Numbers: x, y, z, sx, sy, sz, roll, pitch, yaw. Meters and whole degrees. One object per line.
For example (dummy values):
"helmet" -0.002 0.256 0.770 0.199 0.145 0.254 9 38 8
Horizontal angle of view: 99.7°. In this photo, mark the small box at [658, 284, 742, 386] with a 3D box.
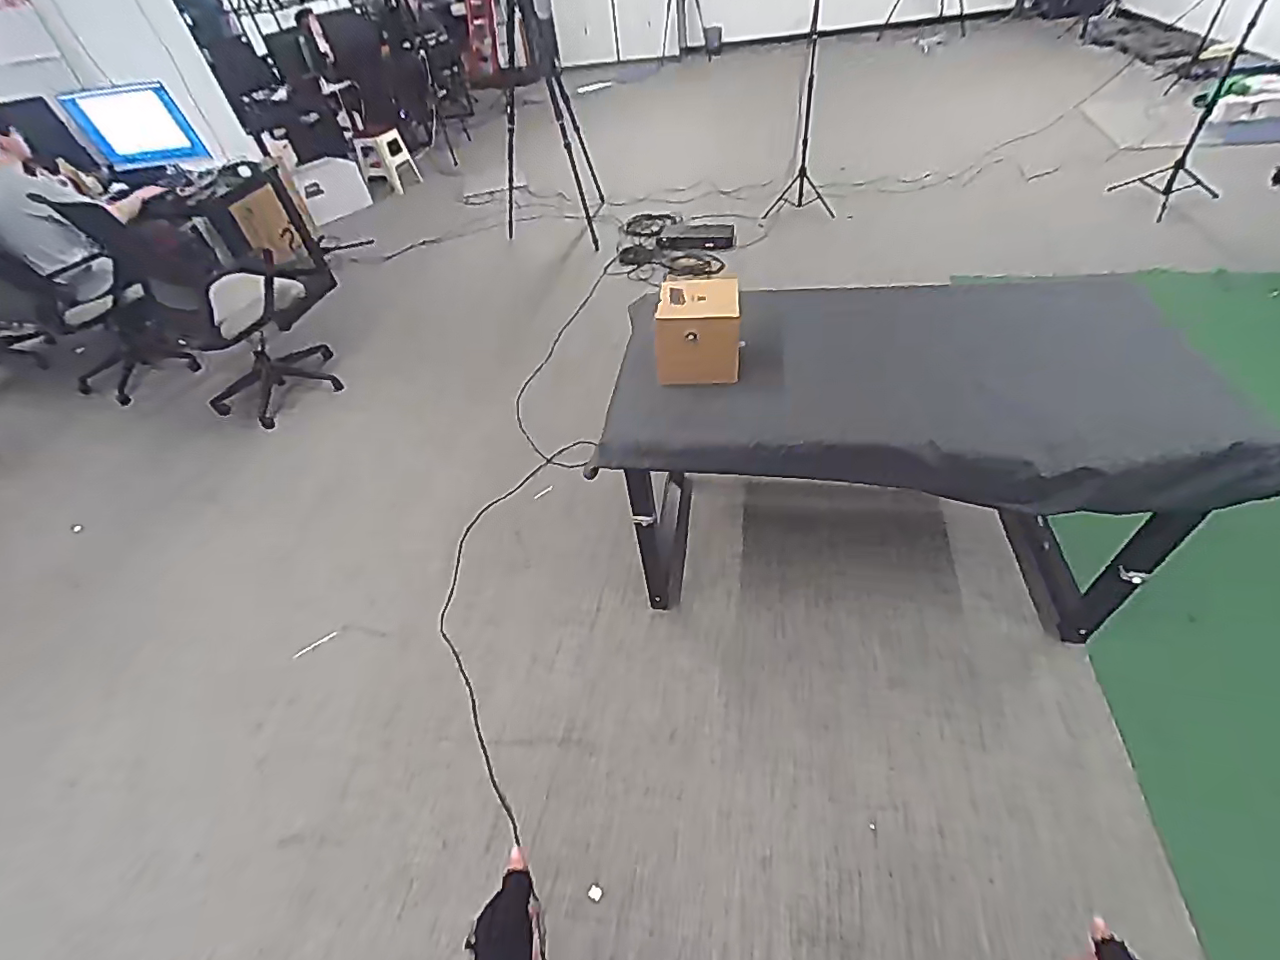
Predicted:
"small box" 0.141 -0.327 1.229 0.179 0.176 0.168 1 46 9
